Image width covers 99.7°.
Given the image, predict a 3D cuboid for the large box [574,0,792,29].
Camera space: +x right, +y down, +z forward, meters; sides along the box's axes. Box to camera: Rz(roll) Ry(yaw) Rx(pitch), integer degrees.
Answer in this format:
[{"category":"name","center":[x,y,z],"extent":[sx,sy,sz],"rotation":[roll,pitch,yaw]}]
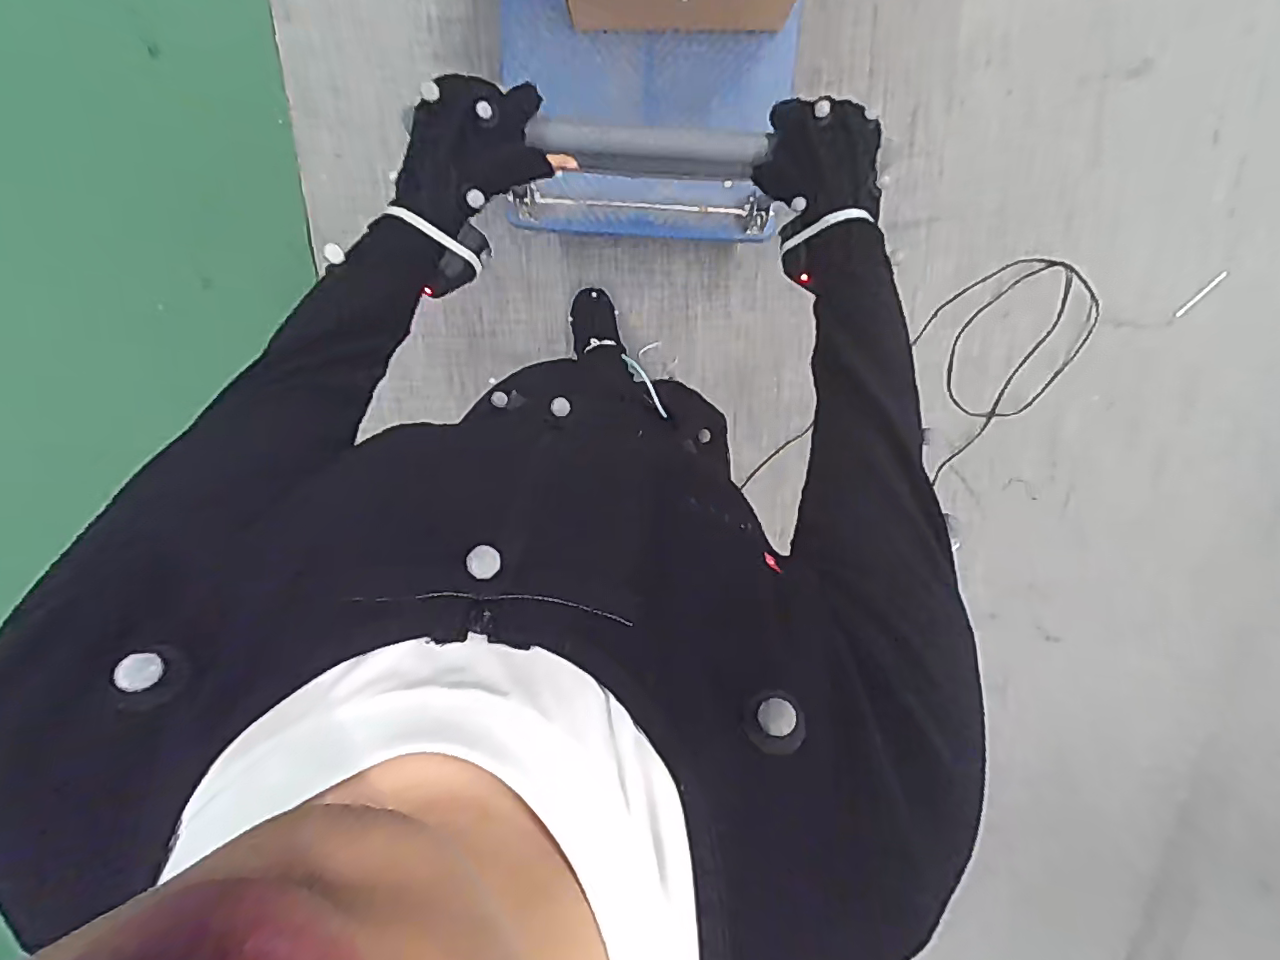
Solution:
[{"category":"large box","center":[0.076,-0.983,0.869],"extent":[0.408,0.320,0.320],"rotation":[0,107,1]}]
